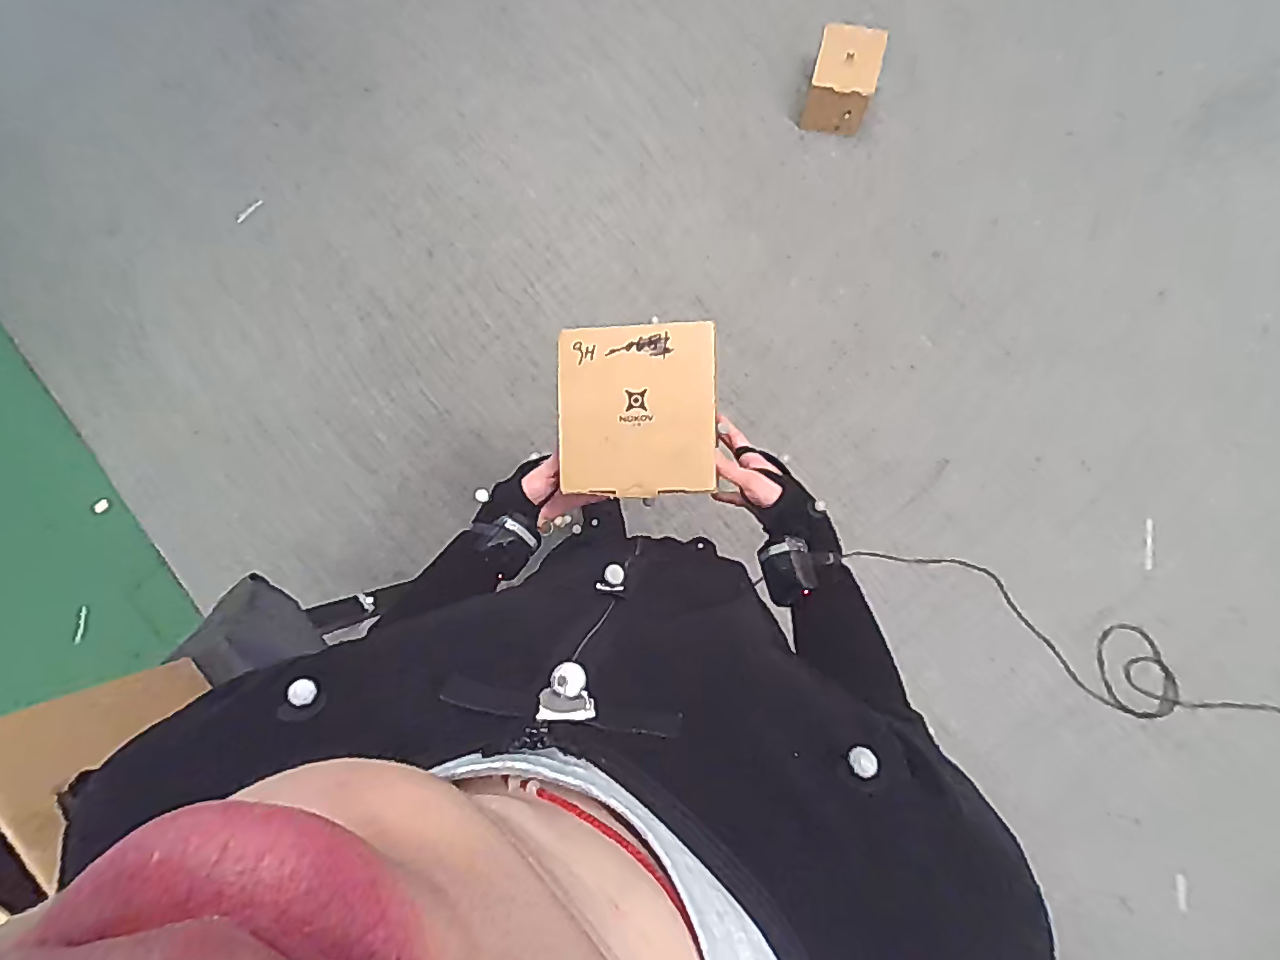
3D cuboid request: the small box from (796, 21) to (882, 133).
[{"bbox_3d":[0.544,-1.108,1.500,0.168,0.176,0.179,13,87,4],"label":"small box"}]
